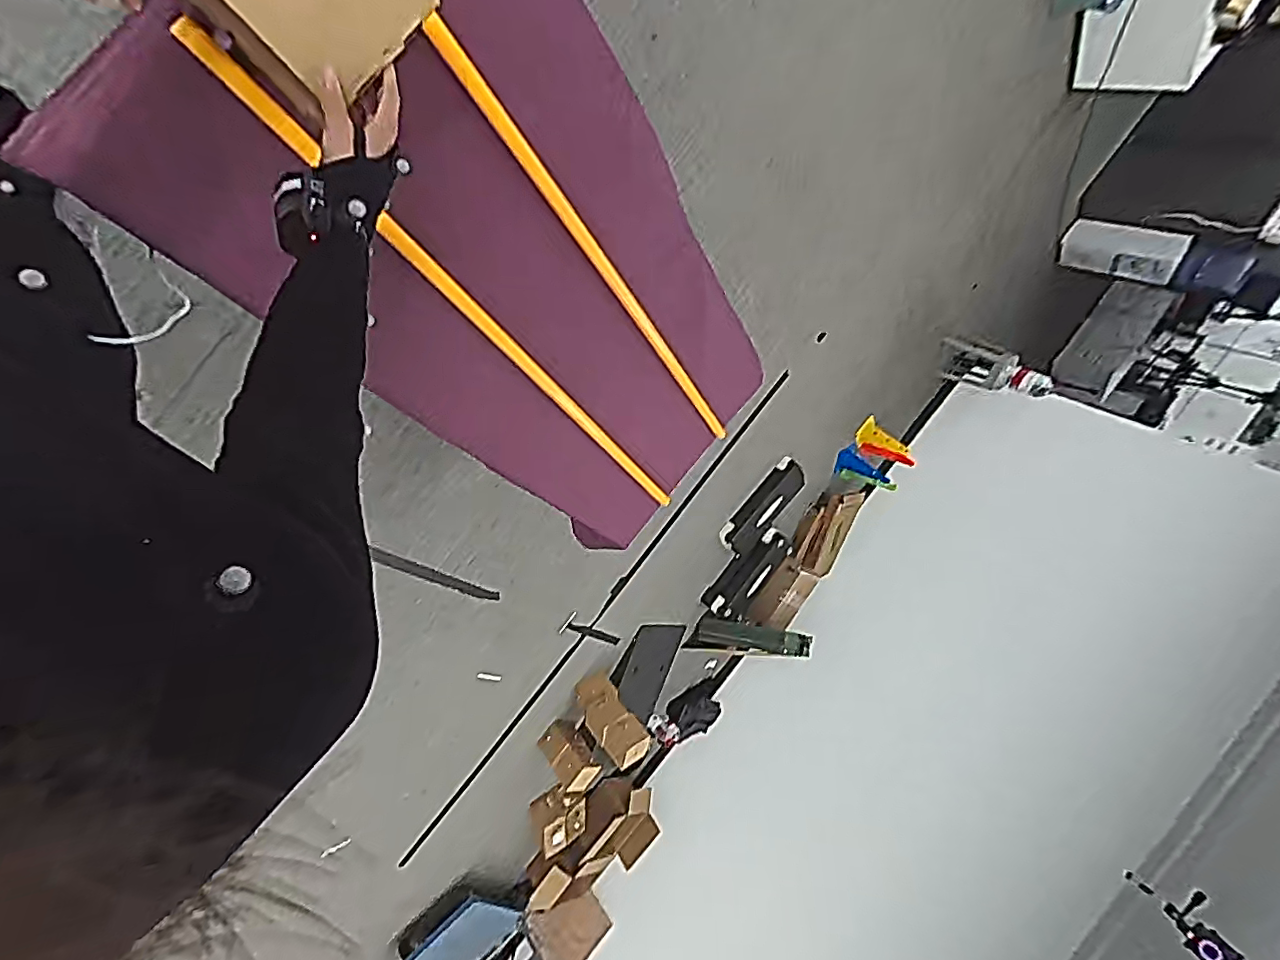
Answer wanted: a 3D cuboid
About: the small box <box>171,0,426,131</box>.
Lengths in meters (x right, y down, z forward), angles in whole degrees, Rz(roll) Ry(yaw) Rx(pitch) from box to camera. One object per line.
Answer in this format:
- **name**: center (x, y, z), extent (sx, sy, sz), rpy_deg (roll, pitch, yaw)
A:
- **small box**: center (-0.361, -0.498, 0.544), extent (0.168, 0.176, 0.179), rpy_deg (-50, 142, -2)
